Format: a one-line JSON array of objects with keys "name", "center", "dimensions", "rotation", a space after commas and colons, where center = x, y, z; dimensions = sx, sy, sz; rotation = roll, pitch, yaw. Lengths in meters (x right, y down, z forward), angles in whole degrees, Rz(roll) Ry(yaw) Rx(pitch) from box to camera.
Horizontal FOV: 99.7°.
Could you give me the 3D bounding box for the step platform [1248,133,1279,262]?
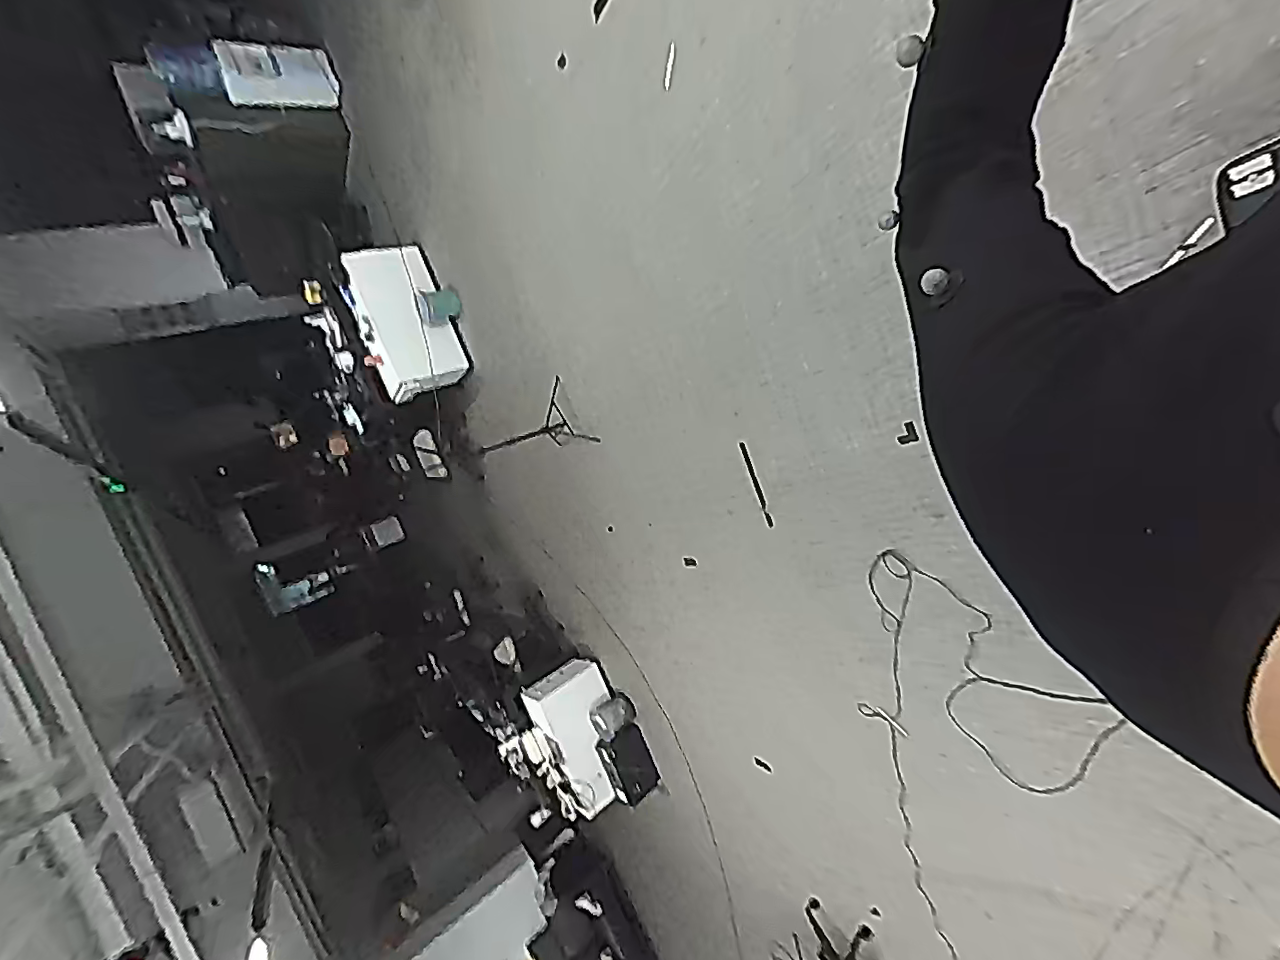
[{"name": "step platform", "center": [1.332, -0.540, 0.722], "dimensions": [0.684, 0.204, 0.286], "rotation": [-22, 93, 56]}]
